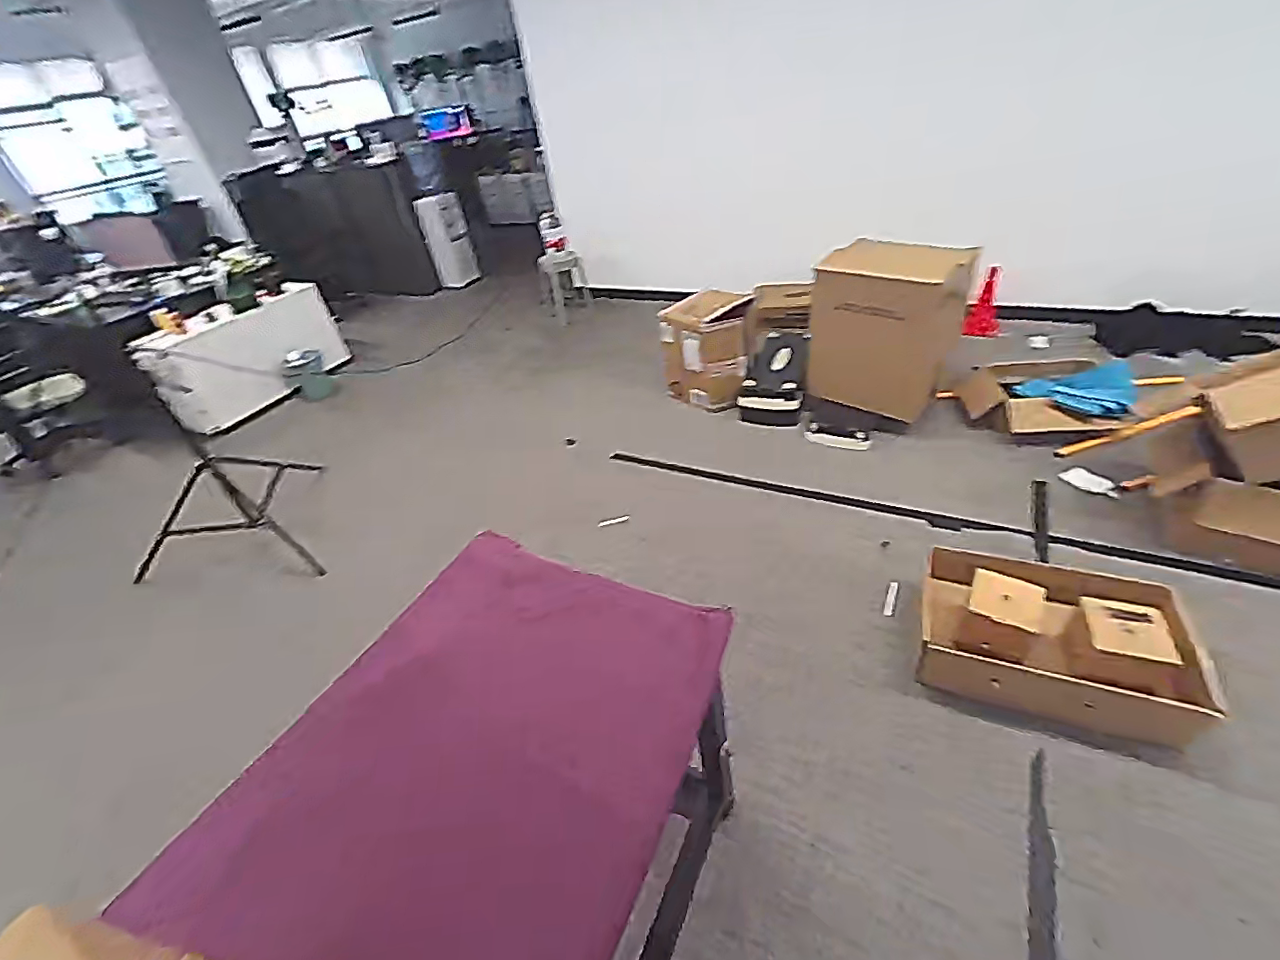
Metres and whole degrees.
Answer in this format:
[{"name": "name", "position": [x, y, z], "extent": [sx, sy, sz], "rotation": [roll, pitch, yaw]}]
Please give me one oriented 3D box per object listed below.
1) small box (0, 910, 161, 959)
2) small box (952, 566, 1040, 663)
[{"name": "small box", "position": [-0.435, 0.469, 0.394], "extent": [0.179, 0.176, 0.168], "rotation": [10, 42, 26]}, {"name": "small box", "position": [1.015, 0.384, 1.547], "extent": [0.168, 0.176, 0.179], "rotation": [17, 45, 29]}]
